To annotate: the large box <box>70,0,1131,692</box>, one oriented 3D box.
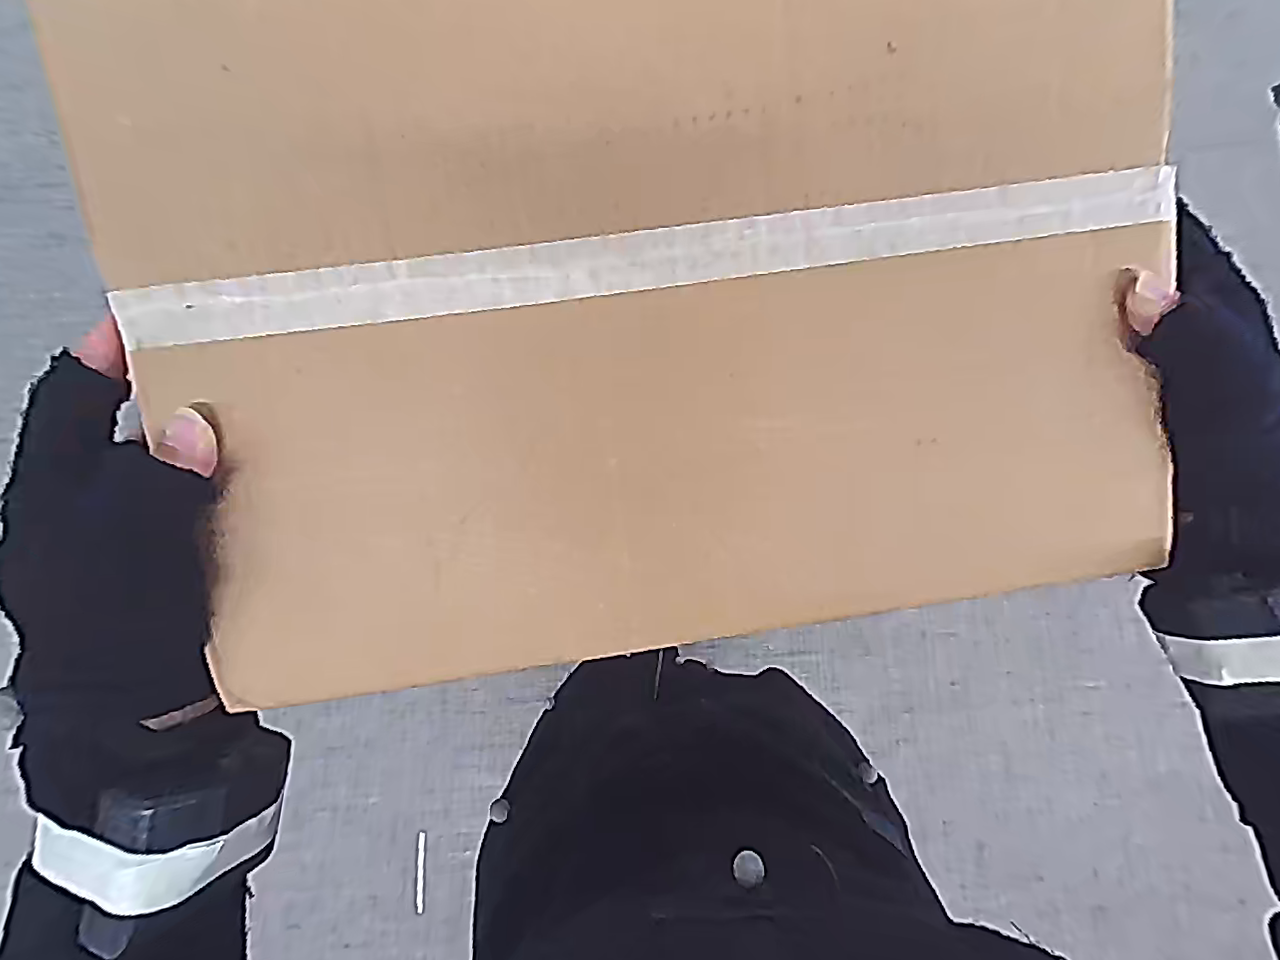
[{"bbox_3d":[0.000,-0.109,0.367,0.408,0.320,0.320,-8,98,-3],"label":"large box"}]
